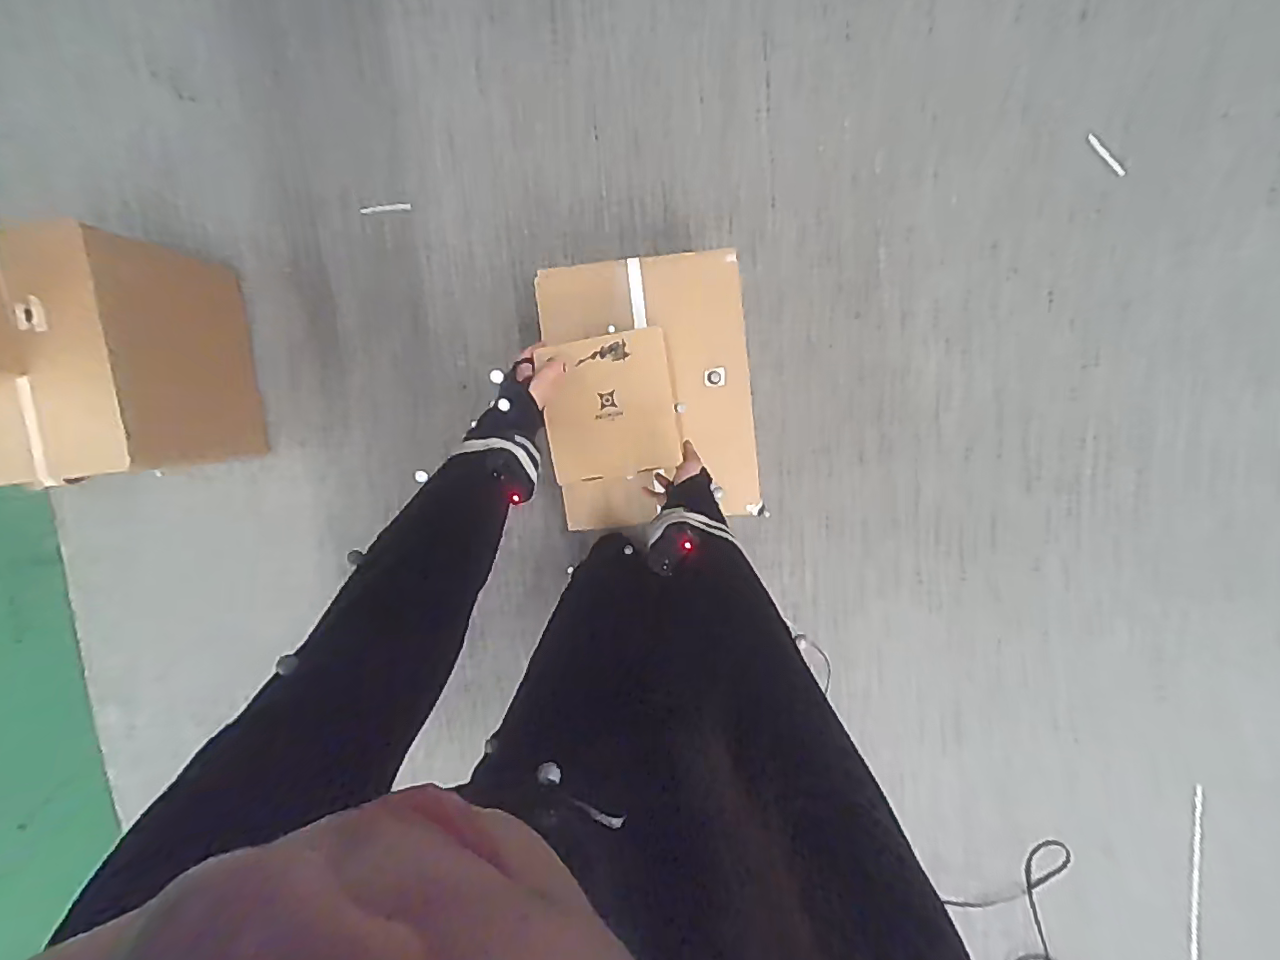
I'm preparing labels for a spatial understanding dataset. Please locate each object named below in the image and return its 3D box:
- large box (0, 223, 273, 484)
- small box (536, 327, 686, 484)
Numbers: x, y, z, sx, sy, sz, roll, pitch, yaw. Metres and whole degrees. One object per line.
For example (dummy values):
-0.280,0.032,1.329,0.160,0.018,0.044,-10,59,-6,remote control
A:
-0.995,-0.219,1.049,0.320,0.320,0.408,-5,96,5,large box
-0.029,-0.103,0.753,0.168,0.176,0.179,-9,97,7,small box
